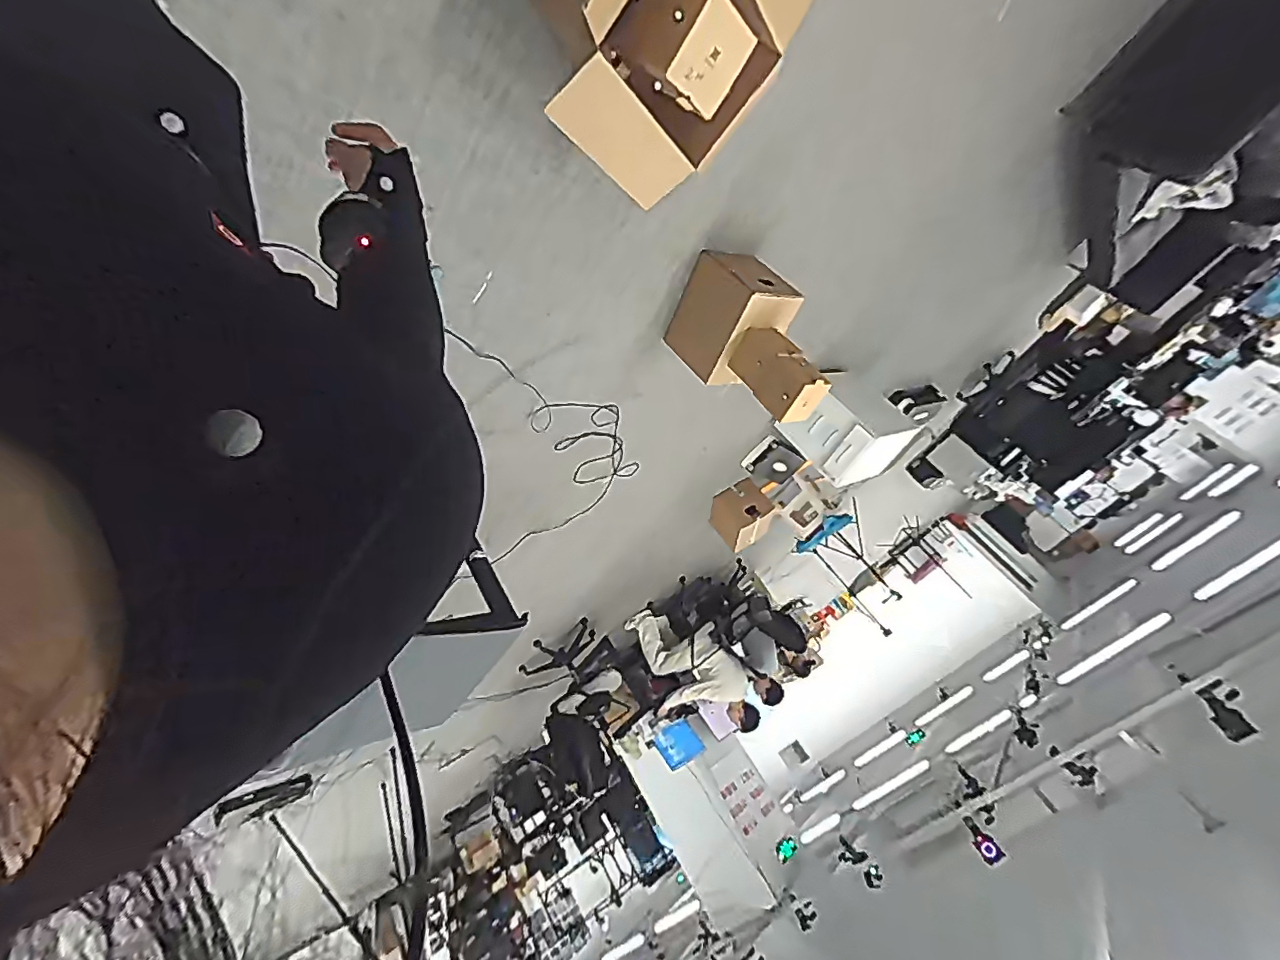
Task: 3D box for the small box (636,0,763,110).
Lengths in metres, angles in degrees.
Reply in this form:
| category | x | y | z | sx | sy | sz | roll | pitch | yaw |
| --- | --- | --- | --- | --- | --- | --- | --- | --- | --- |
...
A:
| category | x | y | z | sx | sy | sz | roll | pitch | yaw |
| --- | --- | --- | --- | --- | --- | --- | --- | --- | --- |
| small box | 0.122 | -0.953 | 1.159 | 0.168 | 0.176 | 0.179 | 6 | 131 | -49 |

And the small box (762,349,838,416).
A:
| category | x | y | z | sx | sy | sz | roll | pitch | yaw |
| --- | --- | --- | --- | --- | --- | --- | --- | --- | --- |
| small box | 0.575 | -0.357 | 1.972 | 0.168 | 0.176 | 0.179 | -10 | 142 | -37 |

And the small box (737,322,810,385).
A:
| category | x | y | z | sx | sy | sz | roll | pitch | yaw |
| --- | --- | --- | --- | --- | --- | --- | --- | --- | --- |
| small box | 0.496 | -0.481 | 2.042 | 0.168 | 0.176 | 0.179 | -11 | 143 | -37 |
